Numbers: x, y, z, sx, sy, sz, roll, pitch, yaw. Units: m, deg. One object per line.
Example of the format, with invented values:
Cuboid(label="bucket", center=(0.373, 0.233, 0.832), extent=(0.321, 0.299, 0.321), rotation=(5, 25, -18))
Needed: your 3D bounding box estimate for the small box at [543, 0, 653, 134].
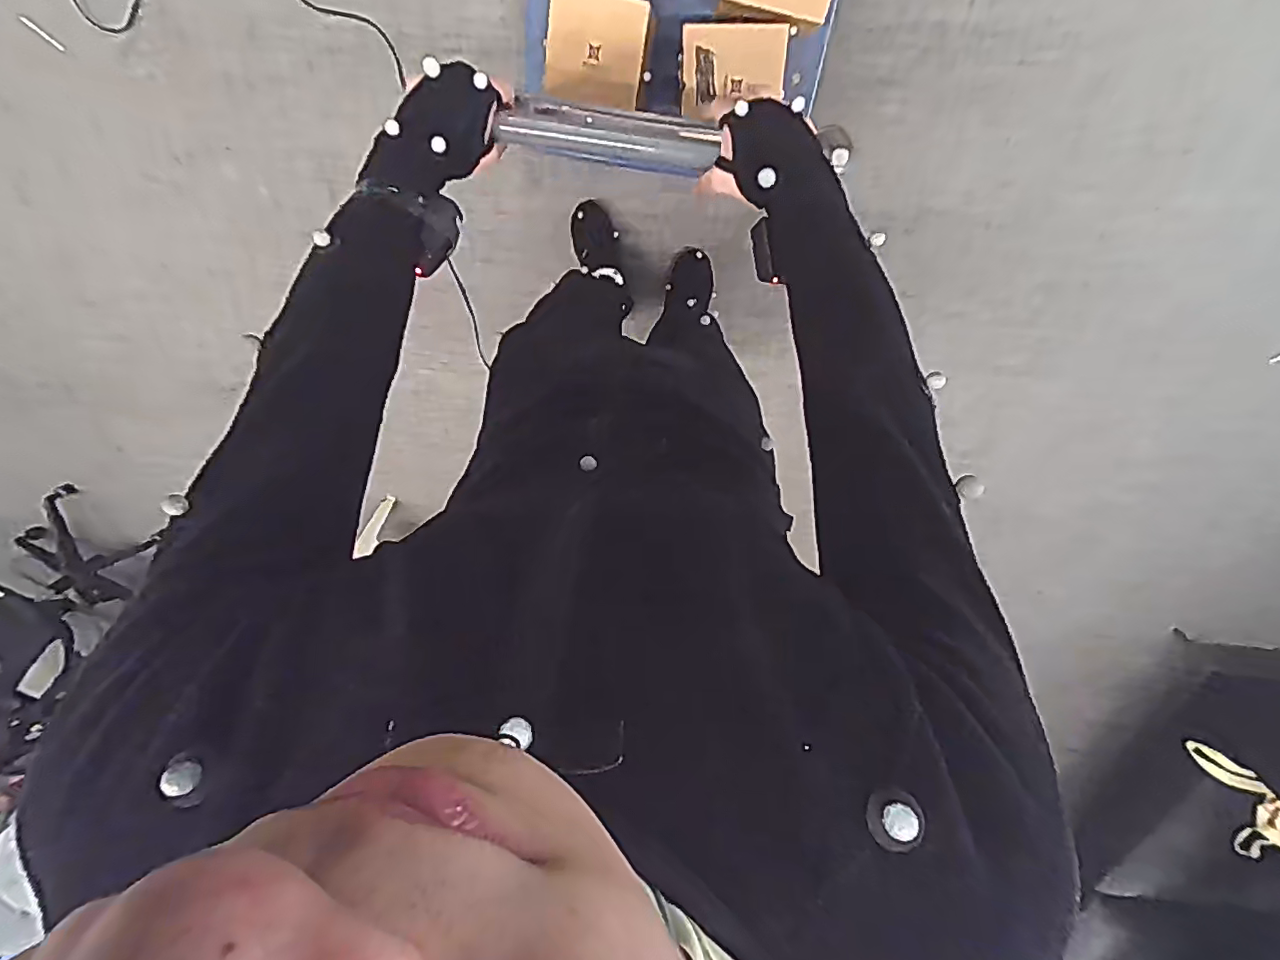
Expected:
Cuboid(label="small box", center=(-0.073, -0.757, 0.997), extent=(0.168, 0.176, 0.179), rotation=(12, 122, -2))
